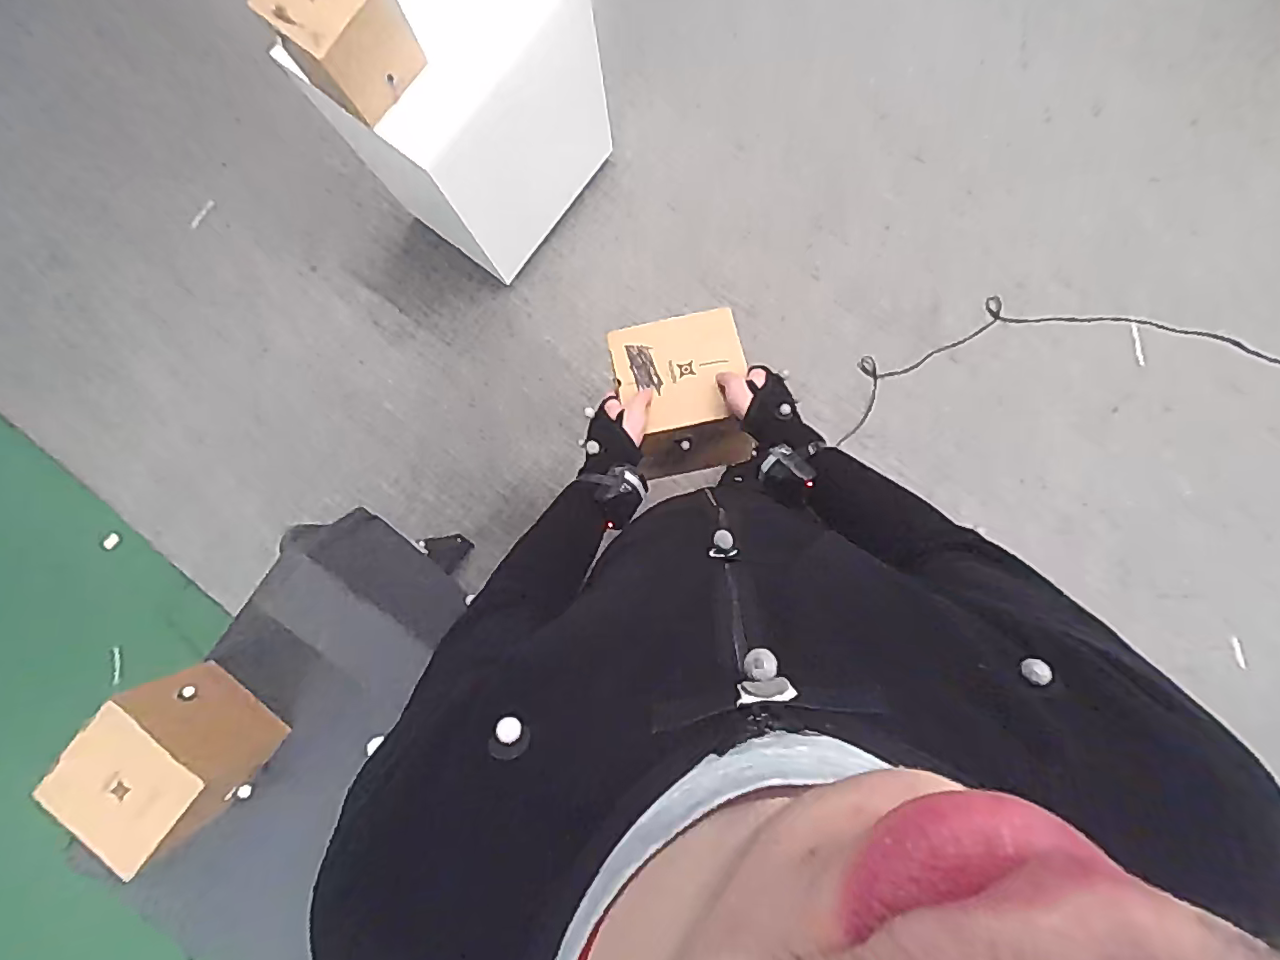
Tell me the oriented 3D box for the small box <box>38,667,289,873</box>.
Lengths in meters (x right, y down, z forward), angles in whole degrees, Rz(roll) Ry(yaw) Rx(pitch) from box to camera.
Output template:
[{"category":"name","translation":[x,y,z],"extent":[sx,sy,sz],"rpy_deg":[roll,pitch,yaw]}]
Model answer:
[{"category":"small box","translation":[-0.671,0.397,0.783],"extent":[0.179,0.176,0.168],"rpy_deg":[38,91,3]}]

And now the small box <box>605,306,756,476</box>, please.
[{"category":"small box","translation":[0.058,-0.118,0.780],"extent":[0.179,0.176,0.168],"rpy_deg":[-11,69,2]}]

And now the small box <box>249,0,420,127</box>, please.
[{"category":"small box","translation":[-0.521,-0.788,0.958],"extent":[0.168,0.176,0.179],"rpy_deg":[39,88,4]}]
